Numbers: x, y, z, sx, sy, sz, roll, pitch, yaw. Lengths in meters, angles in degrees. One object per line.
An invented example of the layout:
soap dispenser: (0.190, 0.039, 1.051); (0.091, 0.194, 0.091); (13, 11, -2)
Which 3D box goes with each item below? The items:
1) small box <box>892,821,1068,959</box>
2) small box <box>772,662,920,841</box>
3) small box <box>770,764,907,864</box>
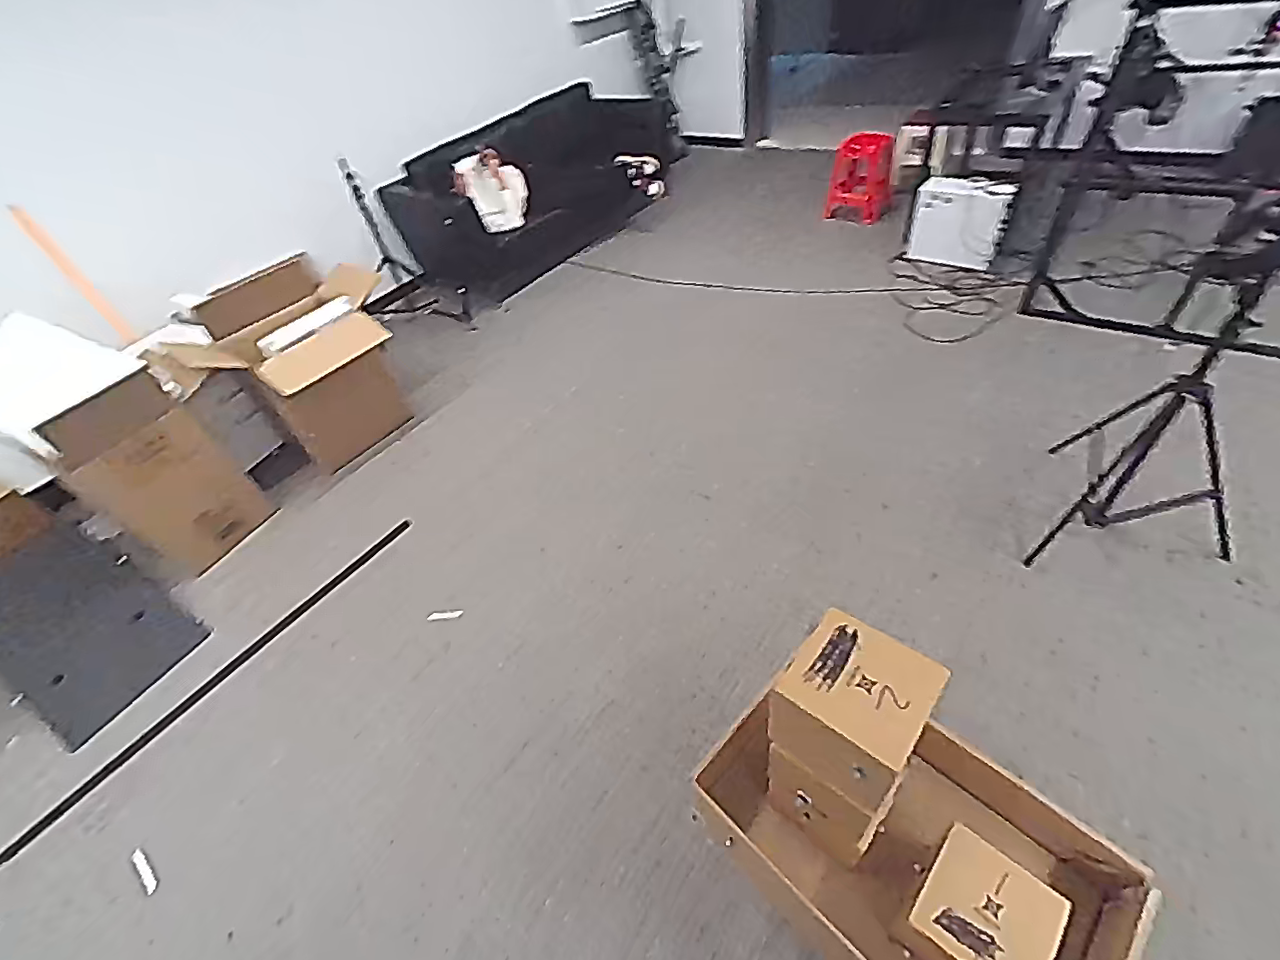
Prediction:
small box: (0.518, 0.691, 0.847); (0.168, 0.176, 0.179); (30, 56, 34)
small box: (0.329, 0.447, 0.893); (0.168, 0.176, 0.179); (27, 55, 32)
small box: (0.356, 0.567, 1.002); (0.179, 0.176, 0.168); (30, 57, 33)
